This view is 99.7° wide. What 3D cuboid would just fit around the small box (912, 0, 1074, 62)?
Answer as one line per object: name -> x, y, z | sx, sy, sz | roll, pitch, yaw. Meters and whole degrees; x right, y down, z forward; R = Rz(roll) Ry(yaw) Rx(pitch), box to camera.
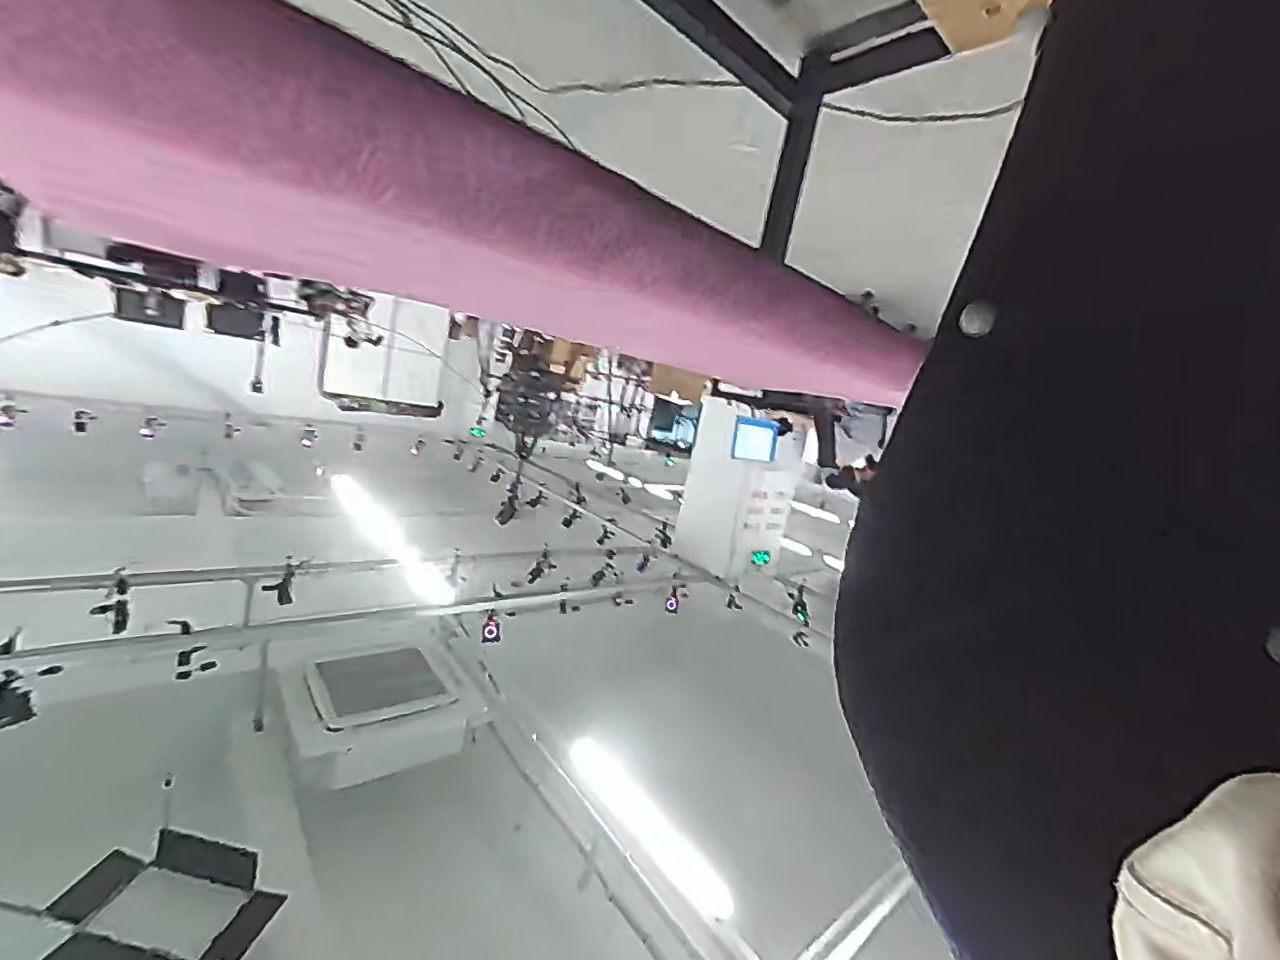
small box -> 0.530, -0.761, 0.778 | 0.179, 0.176, 0.168 | 5, -168, -41
